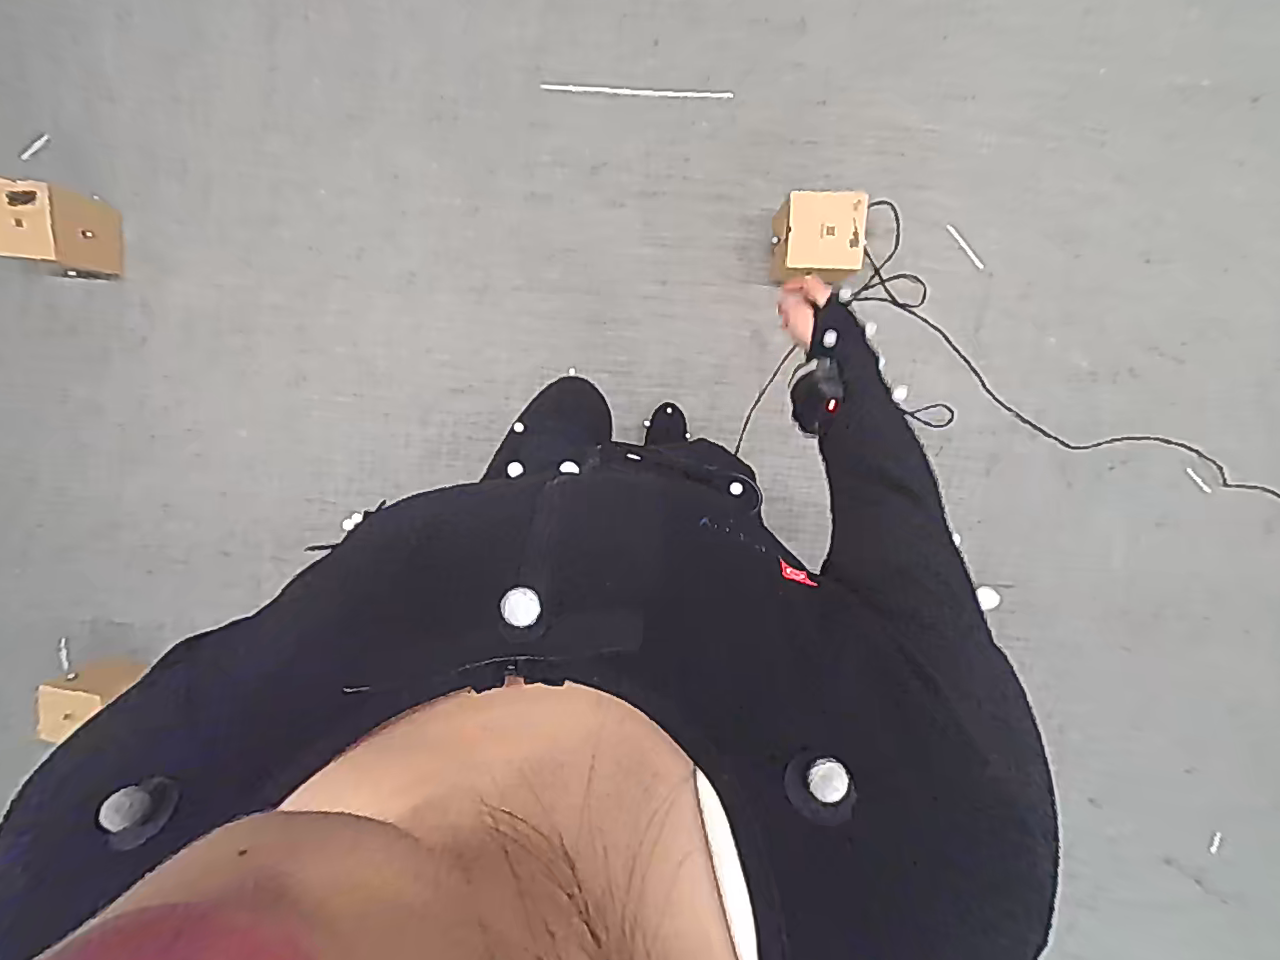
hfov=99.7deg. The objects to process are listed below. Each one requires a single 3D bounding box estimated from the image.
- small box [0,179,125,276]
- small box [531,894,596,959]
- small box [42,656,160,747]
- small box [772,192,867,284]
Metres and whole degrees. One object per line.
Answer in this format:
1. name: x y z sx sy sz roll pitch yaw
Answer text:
1. small box: -1.455 -0.629 1.359 0.168 0.176 0.179 6 99 1
2. small box: -0.217 1.351 1.561 0.168 0.176 0.179 2 97 2
3. small box: -1.538 0.625 1.548 0.179 0.176 0.168 10 99 0
4. small box: 0.420 -0.572 1.295 0.179 0.176 0.168 2 99 3
